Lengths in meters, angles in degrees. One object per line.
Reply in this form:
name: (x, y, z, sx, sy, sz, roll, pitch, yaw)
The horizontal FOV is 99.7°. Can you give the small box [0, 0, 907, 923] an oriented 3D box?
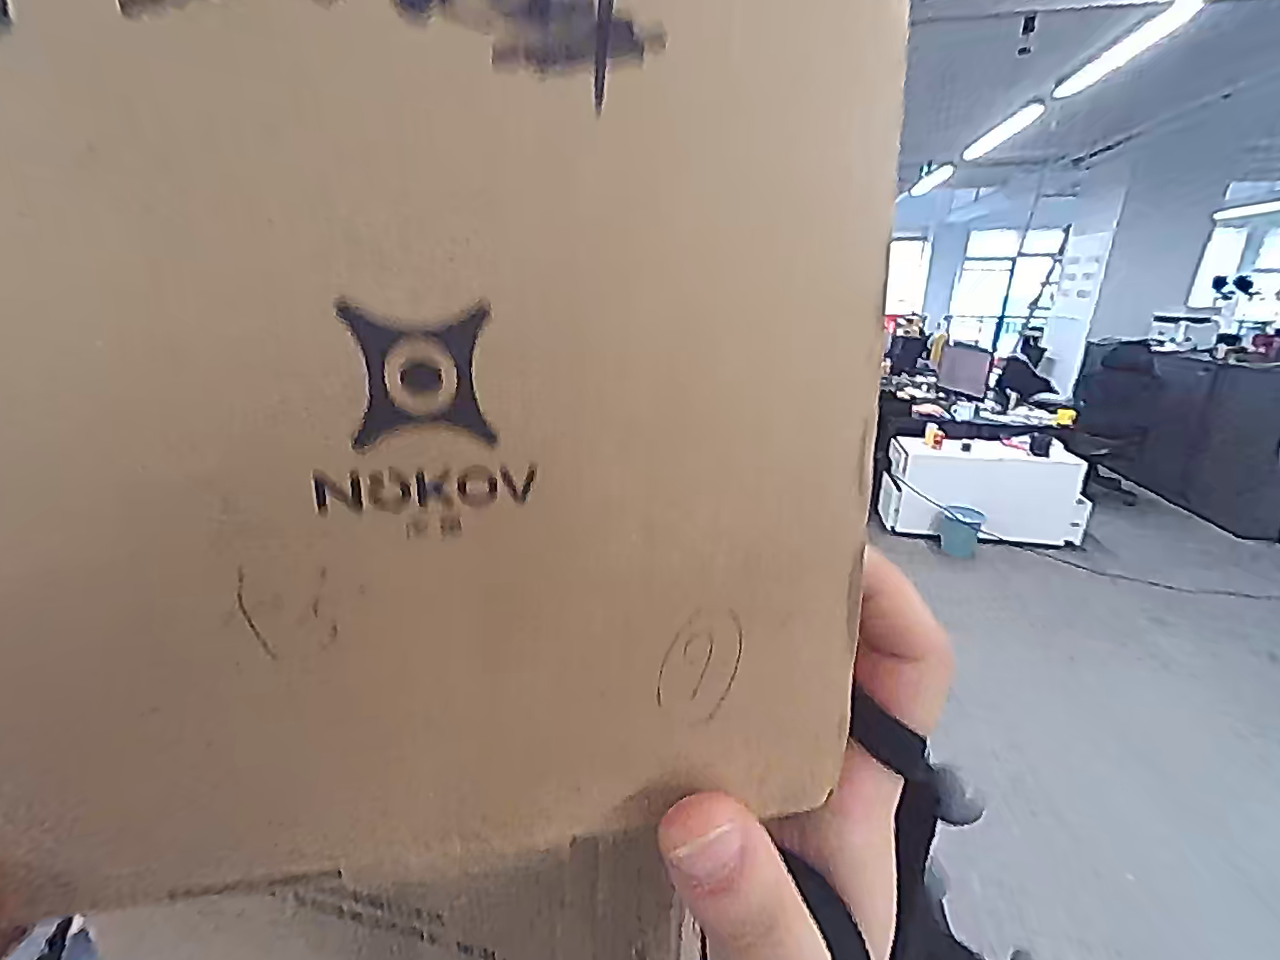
small box: (-0.052, -0.024, 0.169, 0.168, 0.179, 0.176, -3, 14, -11)
